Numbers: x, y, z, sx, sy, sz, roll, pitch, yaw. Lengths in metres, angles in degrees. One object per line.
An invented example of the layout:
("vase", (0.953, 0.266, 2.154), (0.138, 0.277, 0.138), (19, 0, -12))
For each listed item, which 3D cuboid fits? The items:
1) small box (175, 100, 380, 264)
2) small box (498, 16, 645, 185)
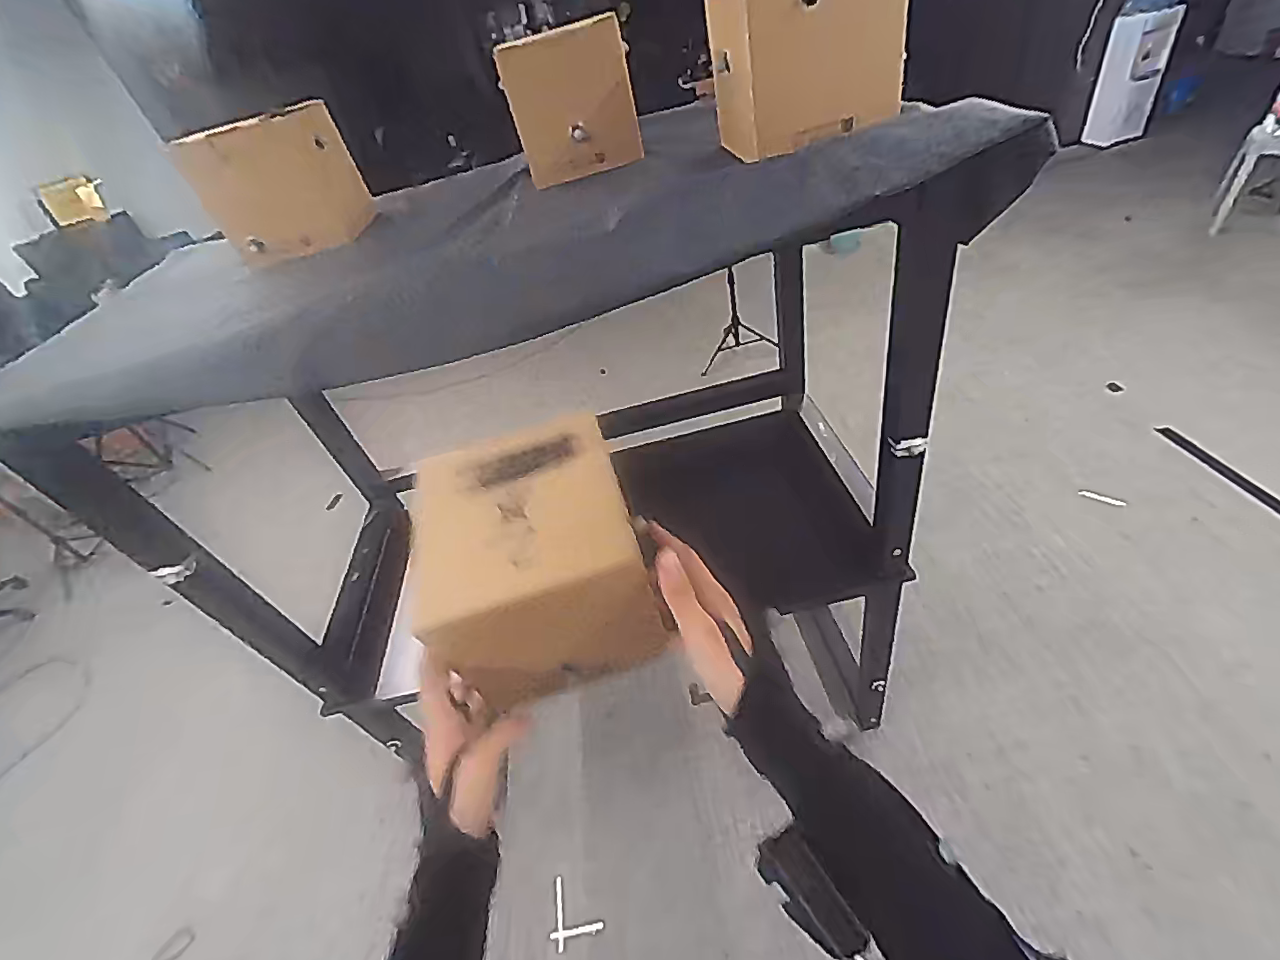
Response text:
("small box", (-0.528, -0.448, 0.823), (0.168, 0.176, 0.179), (-14, 40, 3))
("small box", (-0.095, -0.560, 0.804), (0.168, 0.176, 0.179), (-14, 41, 4))
